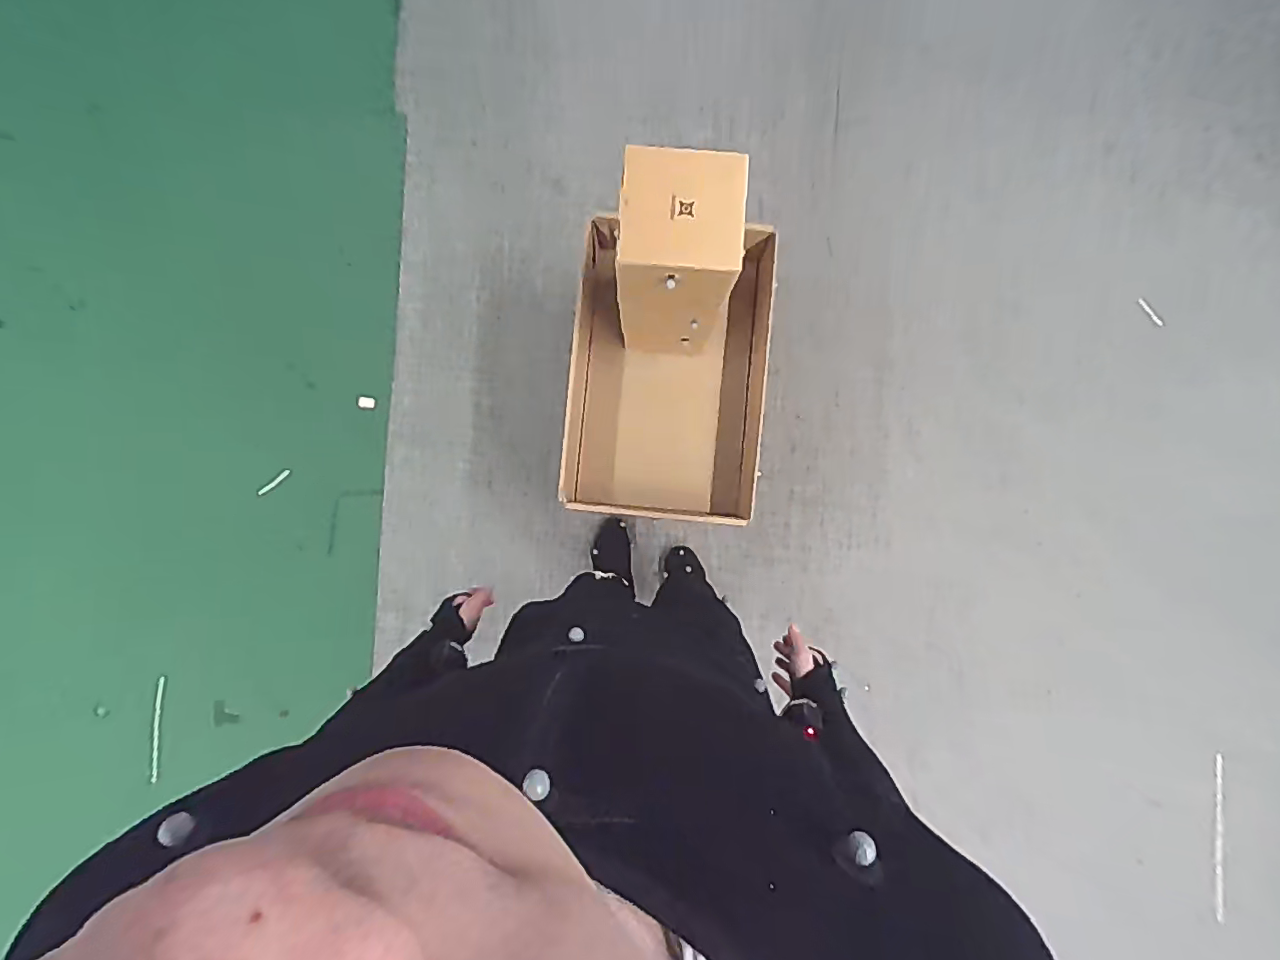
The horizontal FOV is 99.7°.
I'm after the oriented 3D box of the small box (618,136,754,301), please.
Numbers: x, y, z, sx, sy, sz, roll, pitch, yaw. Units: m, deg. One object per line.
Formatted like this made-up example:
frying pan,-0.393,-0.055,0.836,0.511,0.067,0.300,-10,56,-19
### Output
small box,0.062,-0.379,0.815,0.179,0.176,0.168,4,90,0
